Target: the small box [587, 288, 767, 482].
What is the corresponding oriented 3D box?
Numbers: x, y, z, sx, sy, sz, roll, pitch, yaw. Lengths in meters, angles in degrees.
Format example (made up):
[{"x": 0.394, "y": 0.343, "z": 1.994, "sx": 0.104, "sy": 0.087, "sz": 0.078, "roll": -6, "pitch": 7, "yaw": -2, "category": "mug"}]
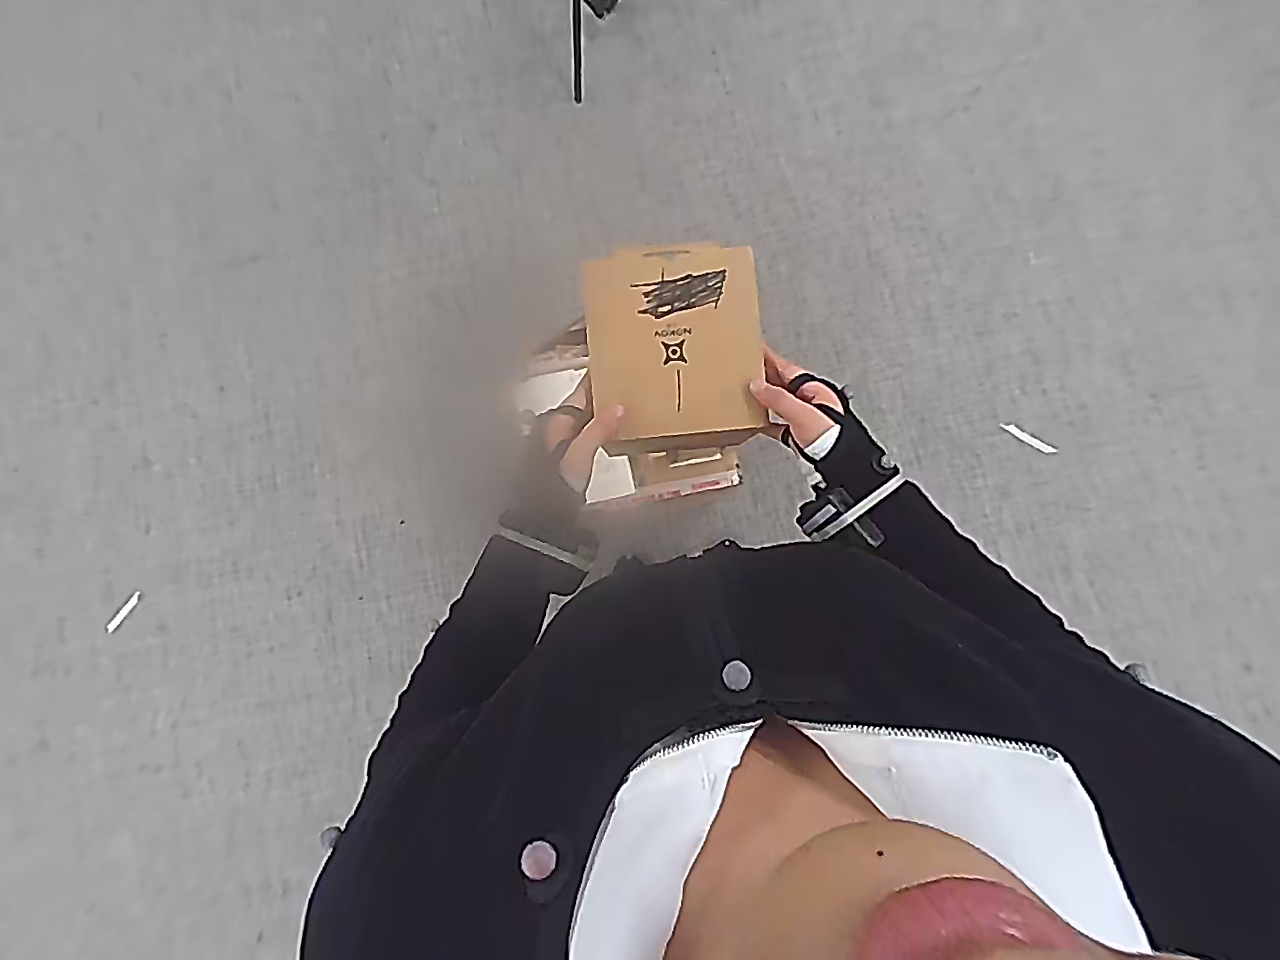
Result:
[{"x": 0.034, "y": -0.093, "z": 0.603, "sx": 0.168, "sy": 0.176, "sz": 0.179, "roll": -5, "pitch": 88, "yaw": 0, "category": "small box"}]
